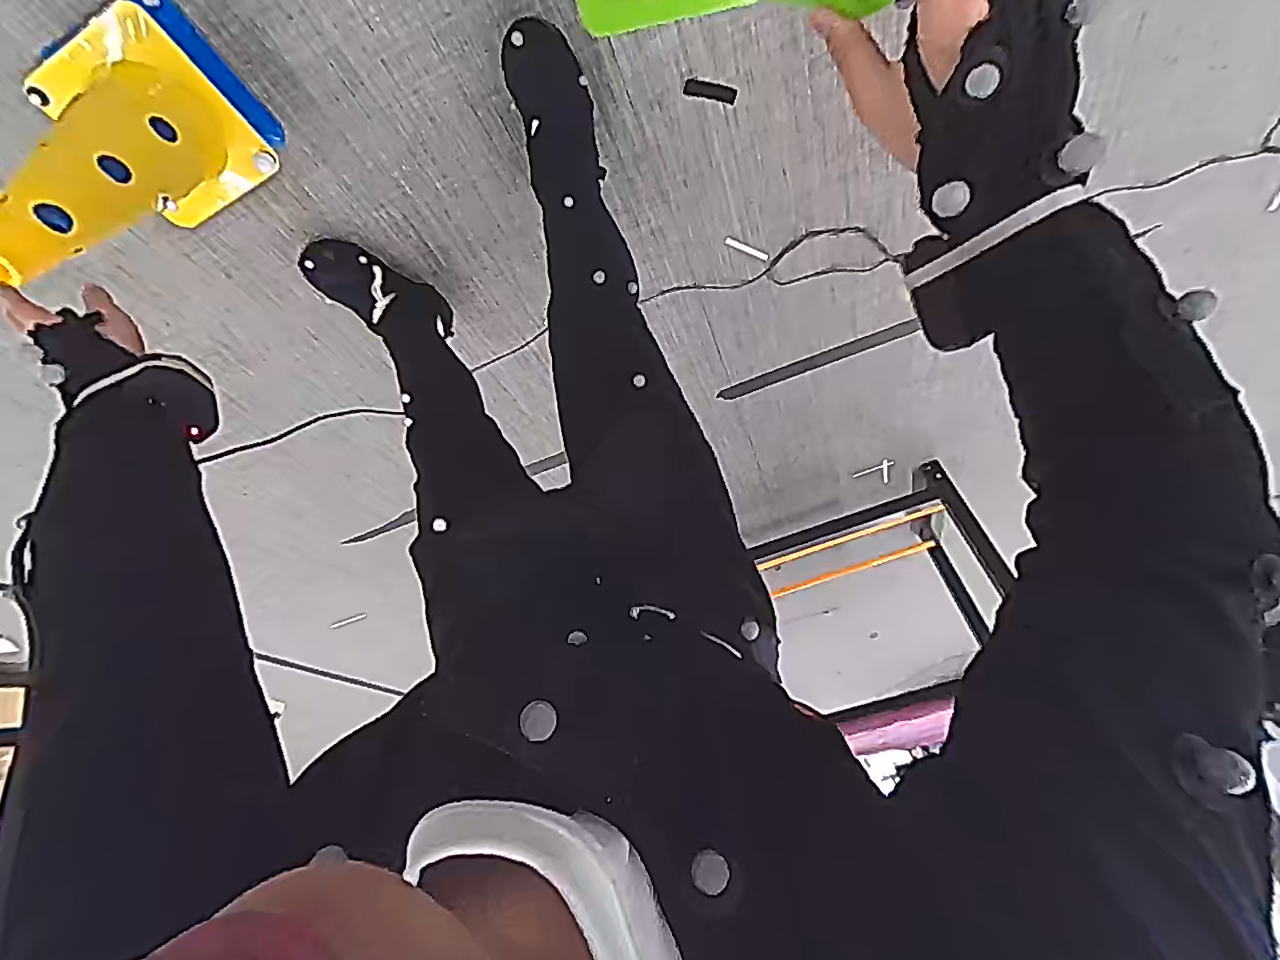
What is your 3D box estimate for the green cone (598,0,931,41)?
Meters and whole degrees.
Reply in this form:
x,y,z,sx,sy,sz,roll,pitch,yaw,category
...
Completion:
x,y,z,sx,sy,sz,roll,pitch,yaw,category
0.080,-0.368,0.343,0.200,0.368,0.202,-13,145,0,green cone
